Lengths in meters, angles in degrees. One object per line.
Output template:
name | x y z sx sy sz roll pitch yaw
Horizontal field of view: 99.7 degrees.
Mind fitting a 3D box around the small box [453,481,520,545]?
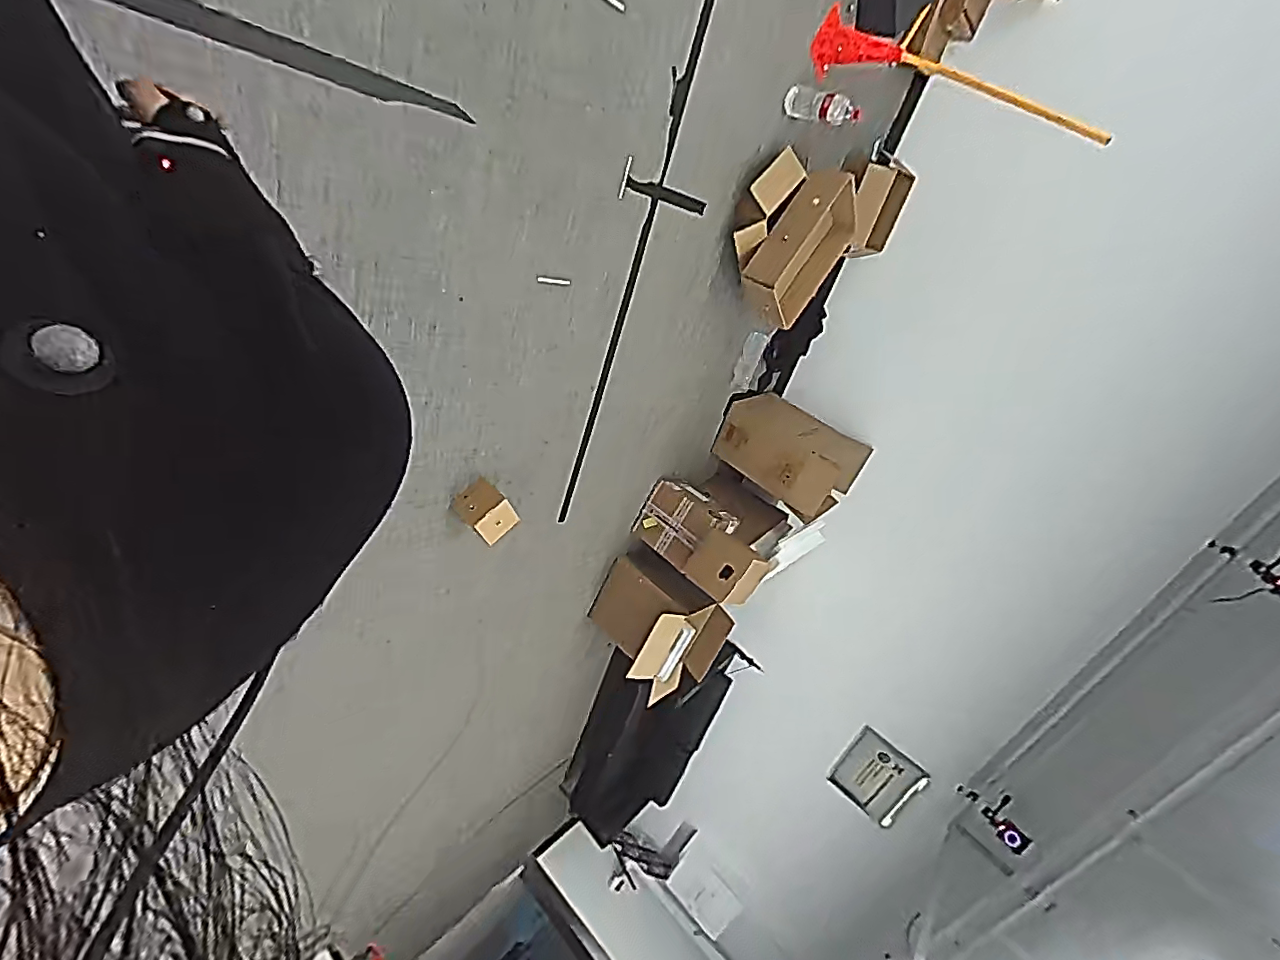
small box | -0.629 0.129 2.208 0.168 0.176 0.179 -44 151 -18
